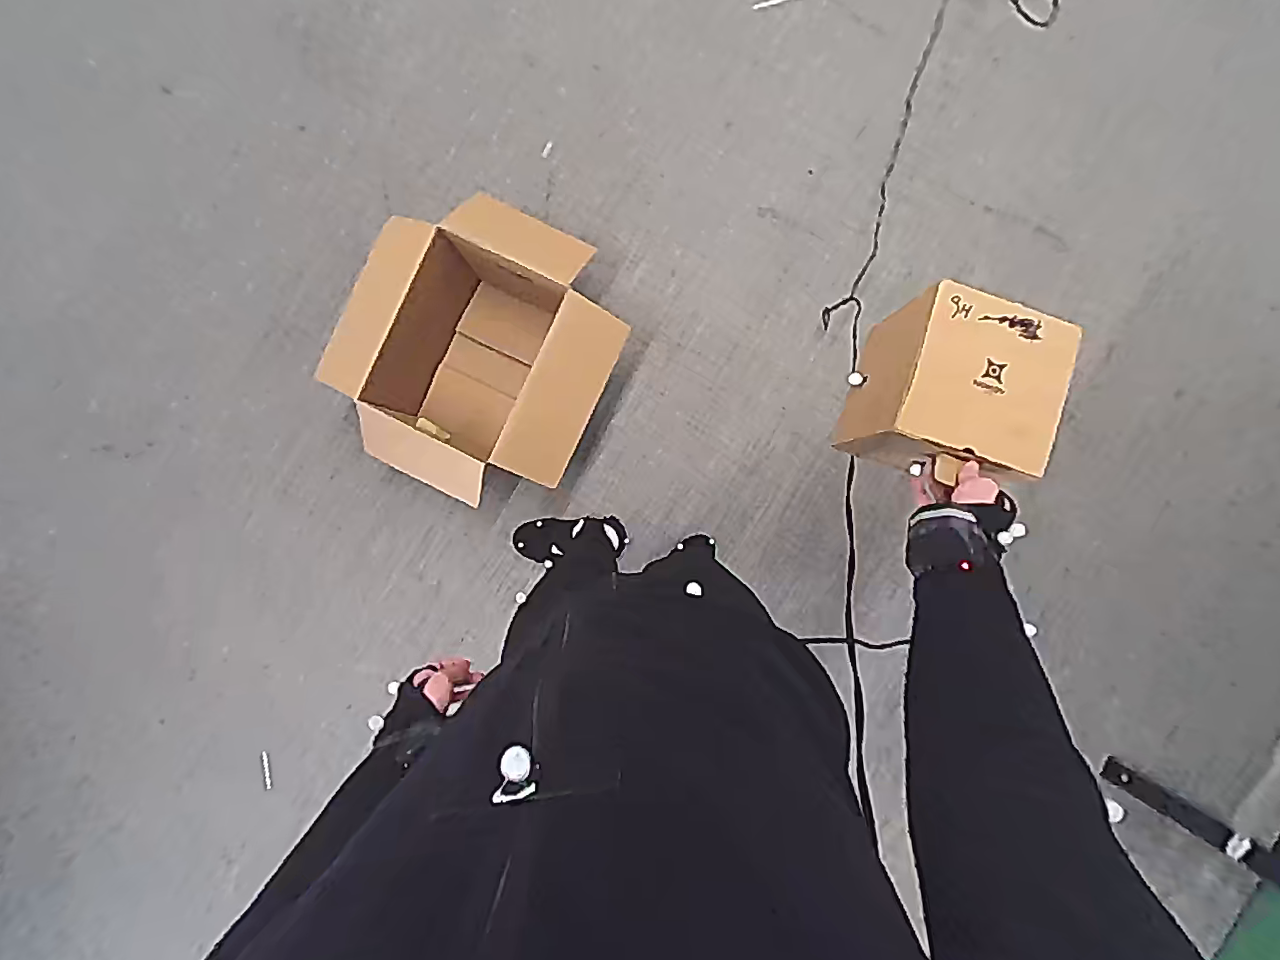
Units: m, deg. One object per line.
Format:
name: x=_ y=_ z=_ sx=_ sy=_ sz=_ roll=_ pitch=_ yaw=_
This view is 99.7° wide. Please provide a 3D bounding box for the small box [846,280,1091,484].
small box: x=0.374 y=-0.101 z=0.652 sx=0.168 sy=0.176 sz=0.179 roll=21 pitch=86 yaw=-1
